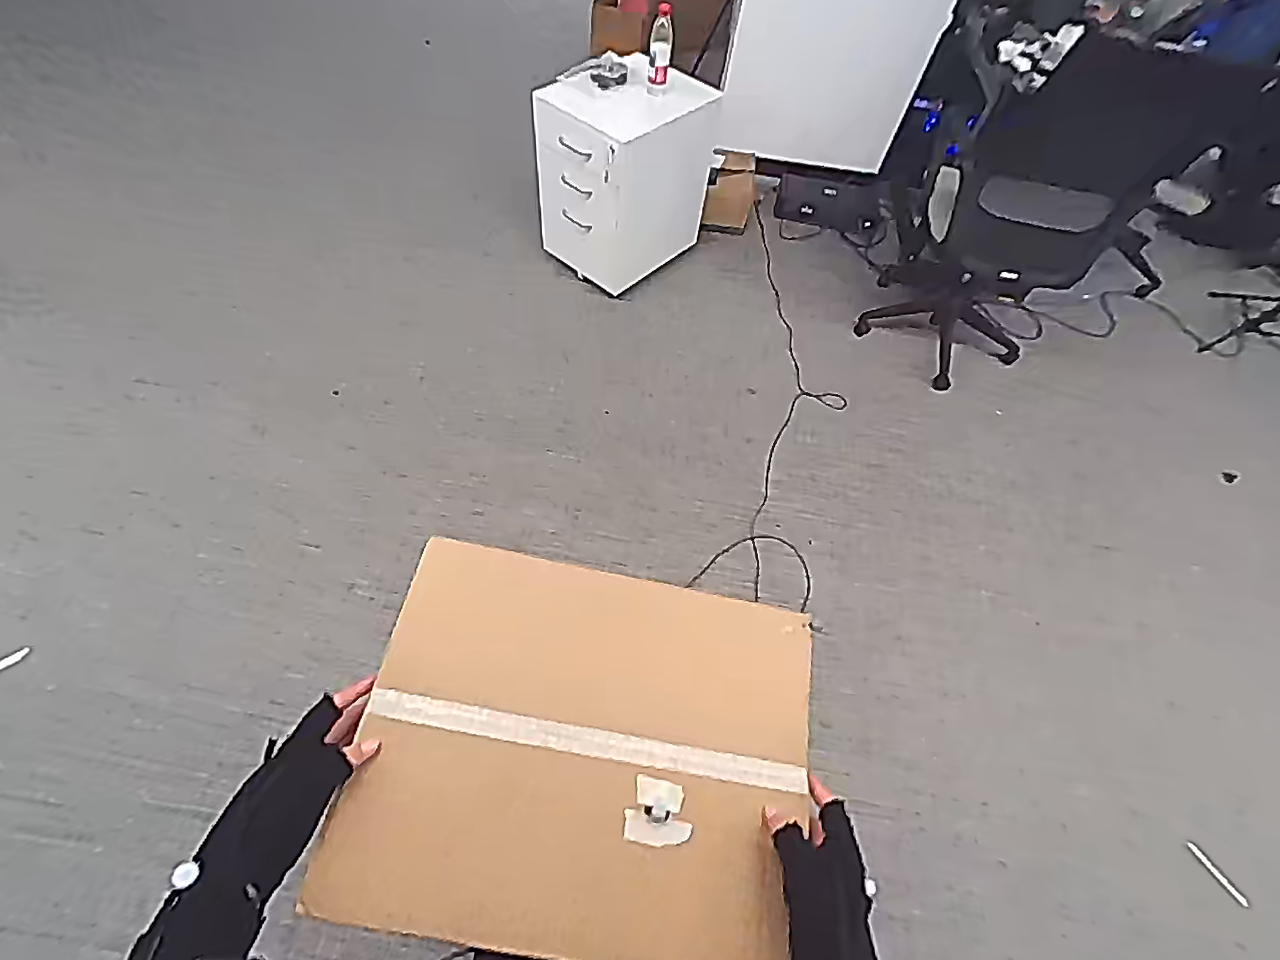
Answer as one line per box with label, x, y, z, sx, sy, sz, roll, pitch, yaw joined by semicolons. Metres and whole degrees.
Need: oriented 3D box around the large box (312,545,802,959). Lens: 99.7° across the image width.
large box;-0.066;0.303;0.632;0.408;0.320;0.320;13;64;-4
